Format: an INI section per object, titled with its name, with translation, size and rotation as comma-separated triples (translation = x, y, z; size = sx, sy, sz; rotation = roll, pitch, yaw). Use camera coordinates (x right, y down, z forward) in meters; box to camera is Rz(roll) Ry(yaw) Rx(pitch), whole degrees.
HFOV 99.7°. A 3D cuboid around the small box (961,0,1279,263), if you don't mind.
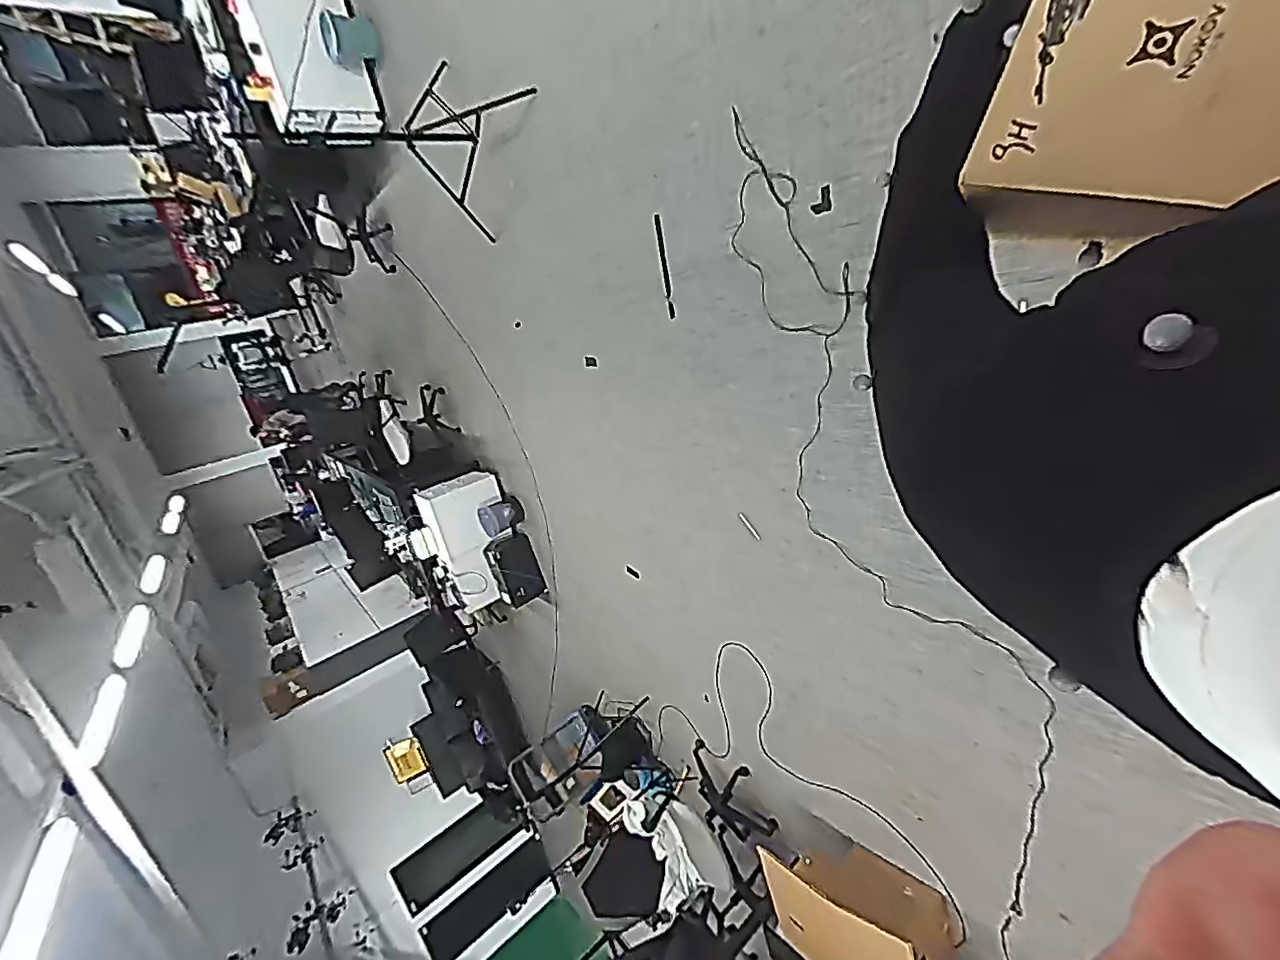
[small box]
translation = 0.365, -0.263, 0.381
size = 0.179, 0.176, 0.168
rotation = 28, 113, 32
